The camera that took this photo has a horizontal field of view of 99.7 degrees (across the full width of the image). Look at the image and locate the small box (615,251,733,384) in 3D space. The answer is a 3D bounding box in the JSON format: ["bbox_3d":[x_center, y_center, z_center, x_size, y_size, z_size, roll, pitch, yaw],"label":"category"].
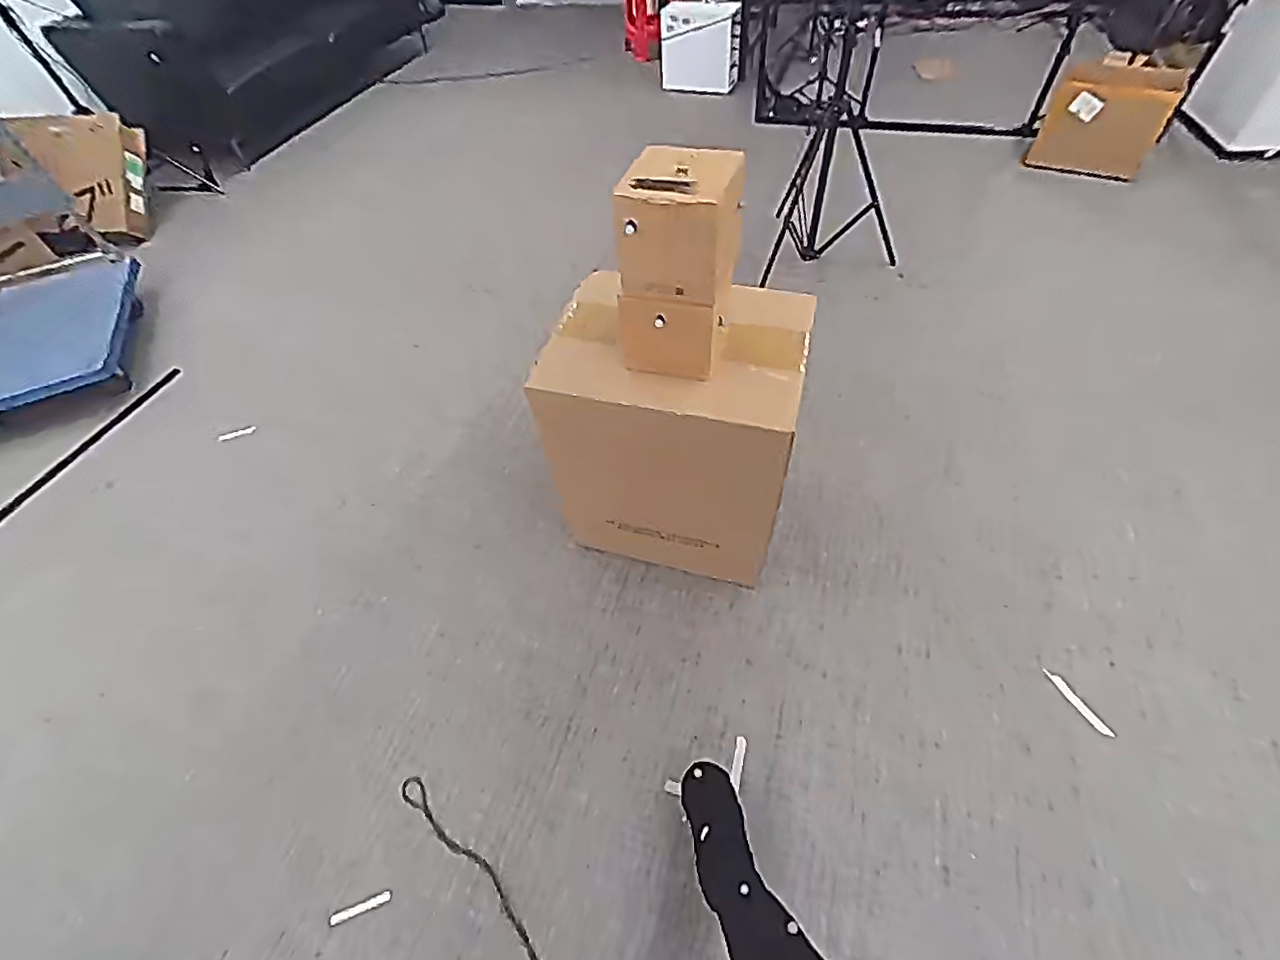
[{"bbox_3d":[0.069,-0.303,1.021,0.179,0.176,0.168,11,55,14],"label":"small box"}]
